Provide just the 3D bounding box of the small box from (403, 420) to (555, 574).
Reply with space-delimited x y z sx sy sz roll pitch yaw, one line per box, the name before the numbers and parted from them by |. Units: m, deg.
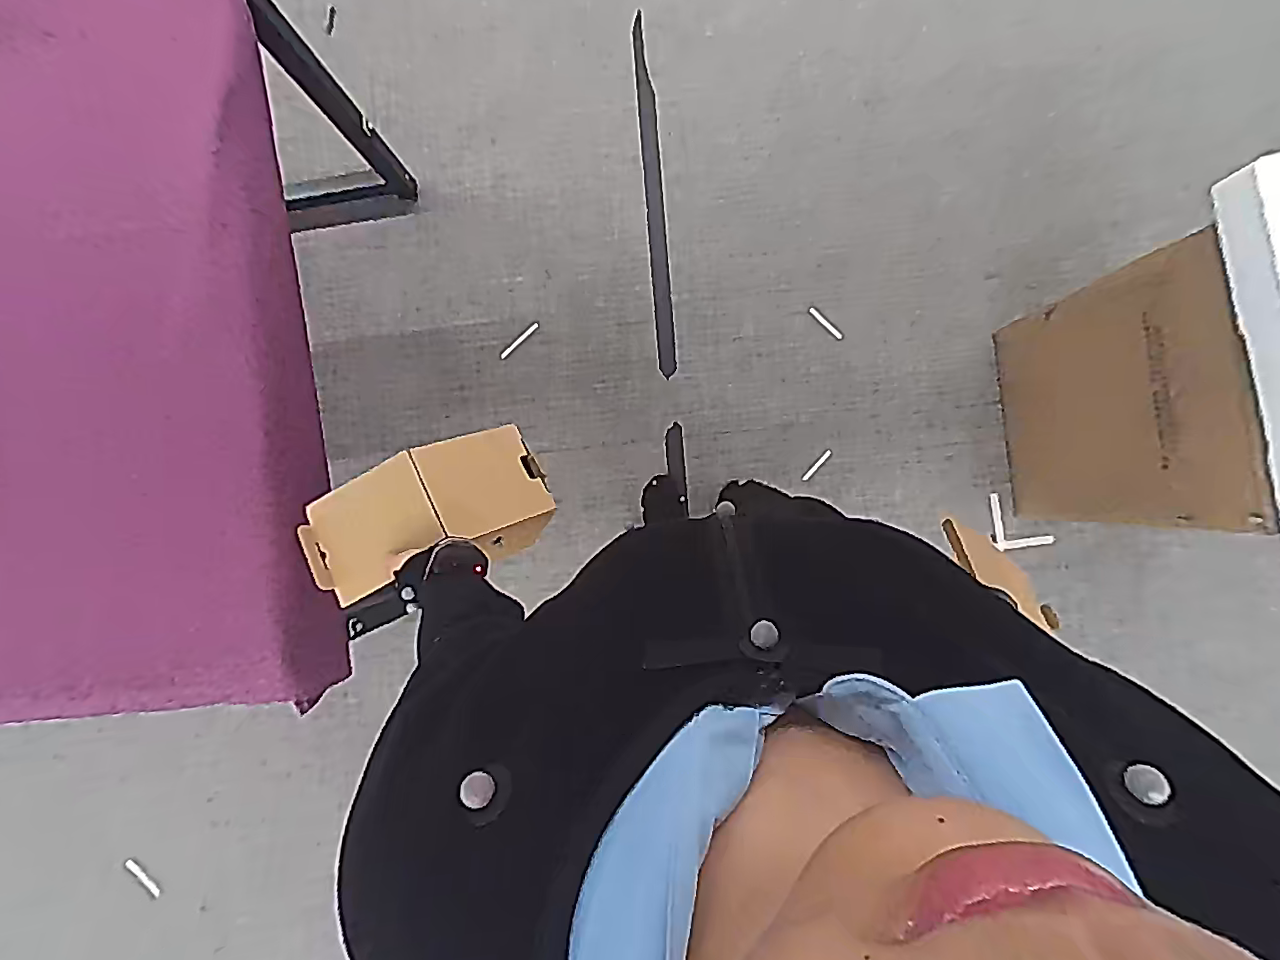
small box | -0.266 0.031 0.866 0.179 0.176 0.168 -20 75 -34
